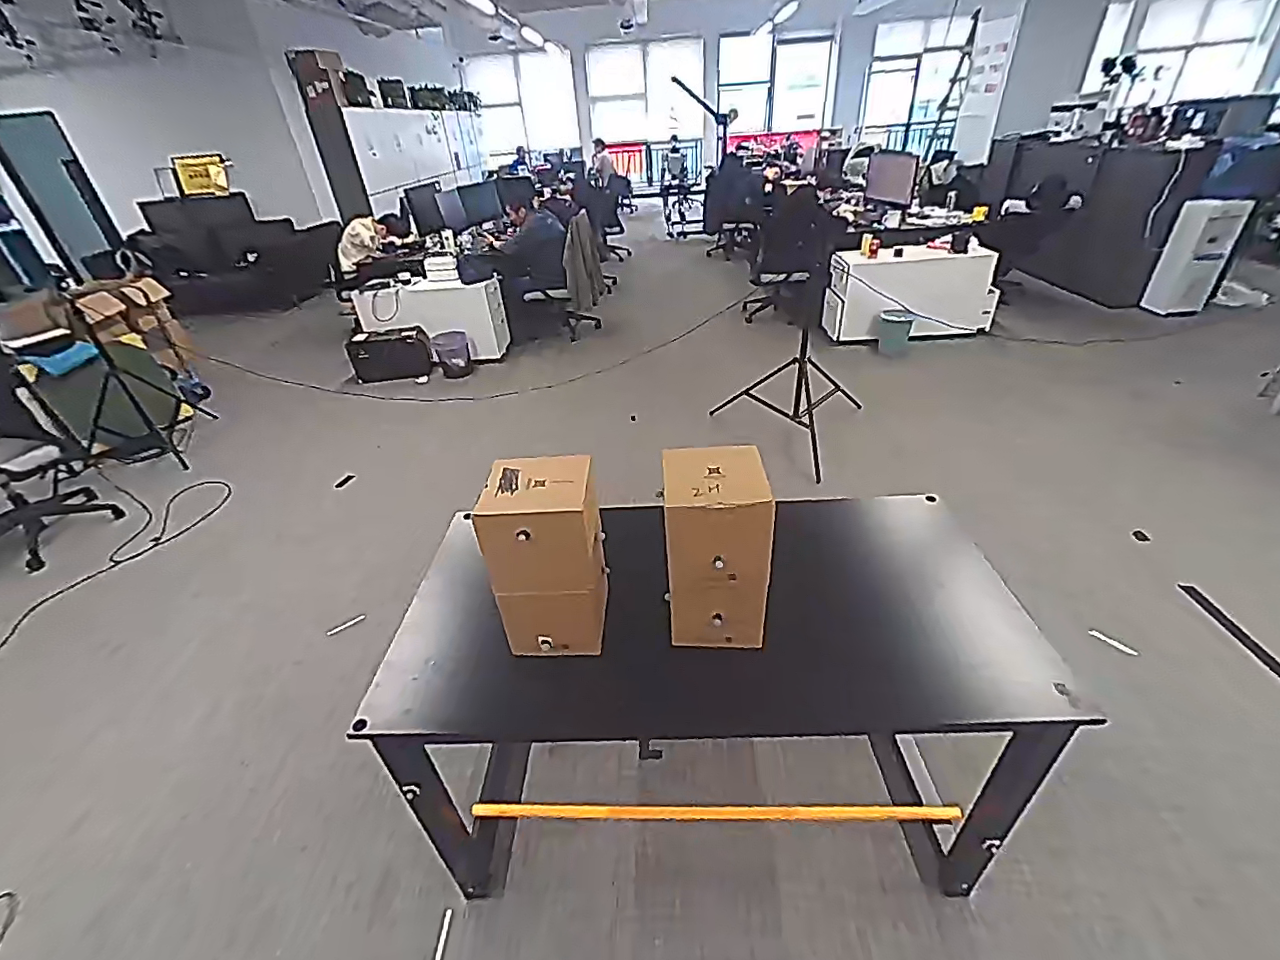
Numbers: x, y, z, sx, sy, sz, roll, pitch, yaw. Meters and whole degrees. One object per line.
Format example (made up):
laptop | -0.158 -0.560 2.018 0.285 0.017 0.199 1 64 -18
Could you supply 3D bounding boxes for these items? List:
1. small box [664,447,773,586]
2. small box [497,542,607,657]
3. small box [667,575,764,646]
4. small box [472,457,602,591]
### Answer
small box | 0.125 0.060 0.922 0.168 0.176 0.179 -3 33 3
small box | -0.155 0.213 1.028 0.168 0.176 0.179 -3 34 4
small box | 0.142 0.193 1.021 0.168 0.176 0.179 -1 34 6
small box | -0.167 0.077 0.936 0.179 0.176 0.168 -3 33 2
